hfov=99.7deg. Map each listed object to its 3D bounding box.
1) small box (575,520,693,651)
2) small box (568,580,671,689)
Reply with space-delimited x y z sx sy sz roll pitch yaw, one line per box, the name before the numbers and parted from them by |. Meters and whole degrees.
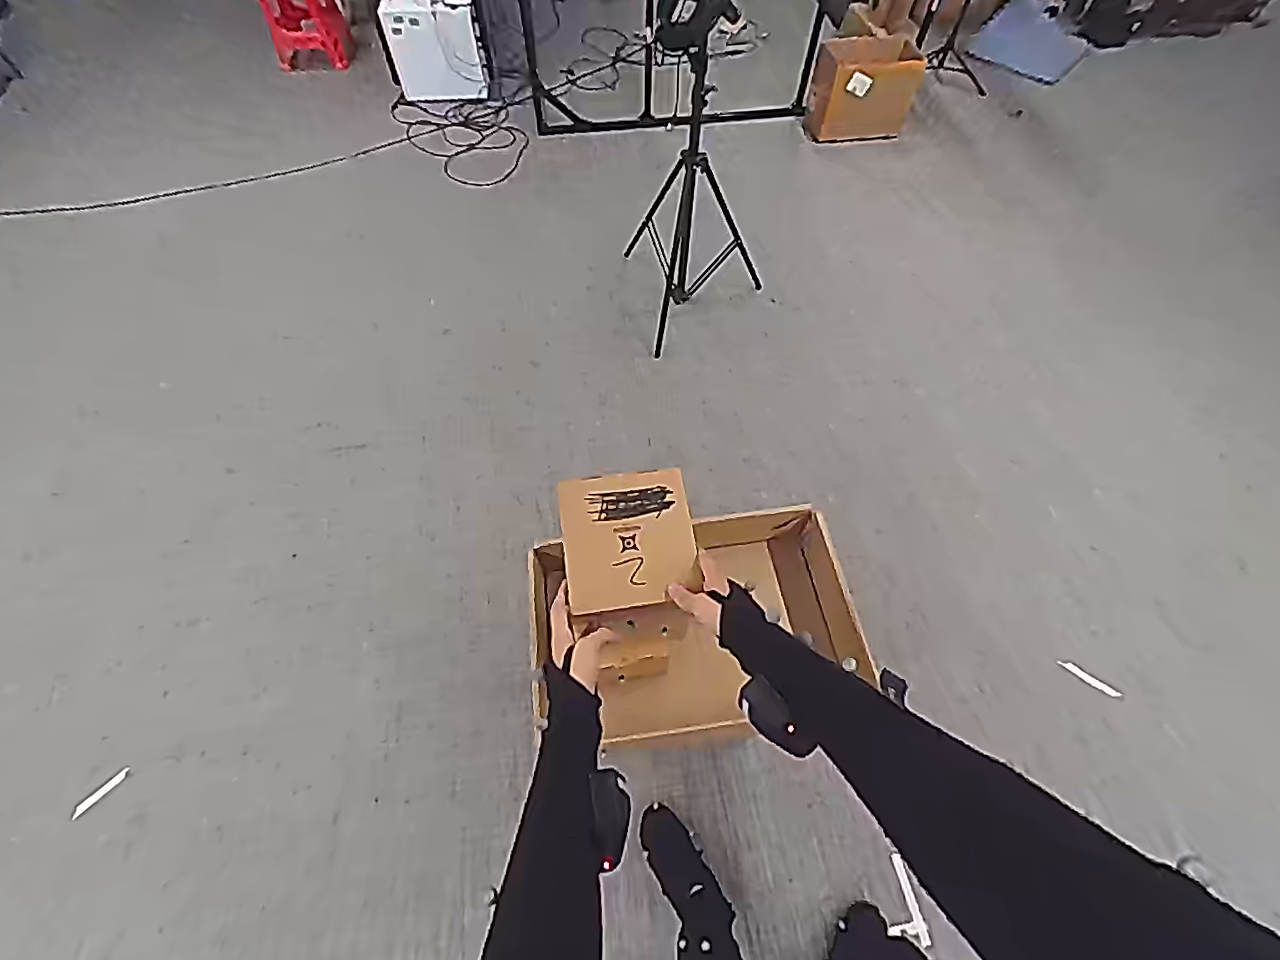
small box | -0.014 0.187 0.939 0.179 0.176 0.168 -7 59 -4
small box | -0.042 0.294 1.066 0.168 0.176 0.179 -12 60 -6
